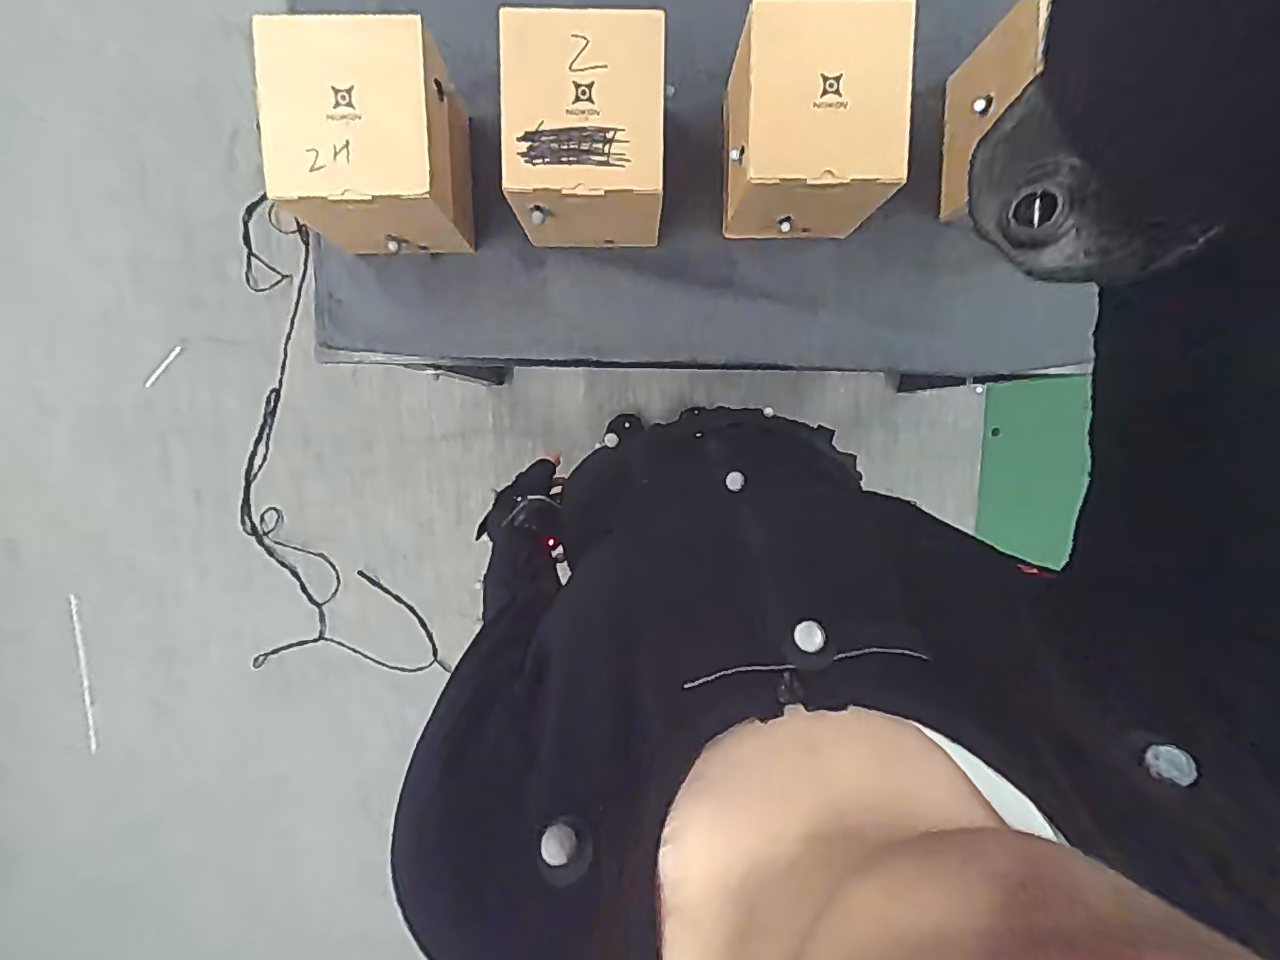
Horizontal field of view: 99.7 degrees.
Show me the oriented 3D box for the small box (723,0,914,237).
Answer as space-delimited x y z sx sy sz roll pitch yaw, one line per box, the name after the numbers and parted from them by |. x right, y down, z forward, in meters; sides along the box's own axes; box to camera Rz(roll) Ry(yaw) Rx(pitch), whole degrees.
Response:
0.191 -0.402 0.626 0.168 0.176 0.179 -1 97 -1 | small box

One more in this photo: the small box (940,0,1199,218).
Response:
0.473 -0.419 0.625 0.168 0.176 0.179 -1 96 -1 | small box

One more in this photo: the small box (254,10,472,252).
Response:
-0.296 -0.377 0.614 0.168 0.176 0.179 -1 95 -2 | small box
